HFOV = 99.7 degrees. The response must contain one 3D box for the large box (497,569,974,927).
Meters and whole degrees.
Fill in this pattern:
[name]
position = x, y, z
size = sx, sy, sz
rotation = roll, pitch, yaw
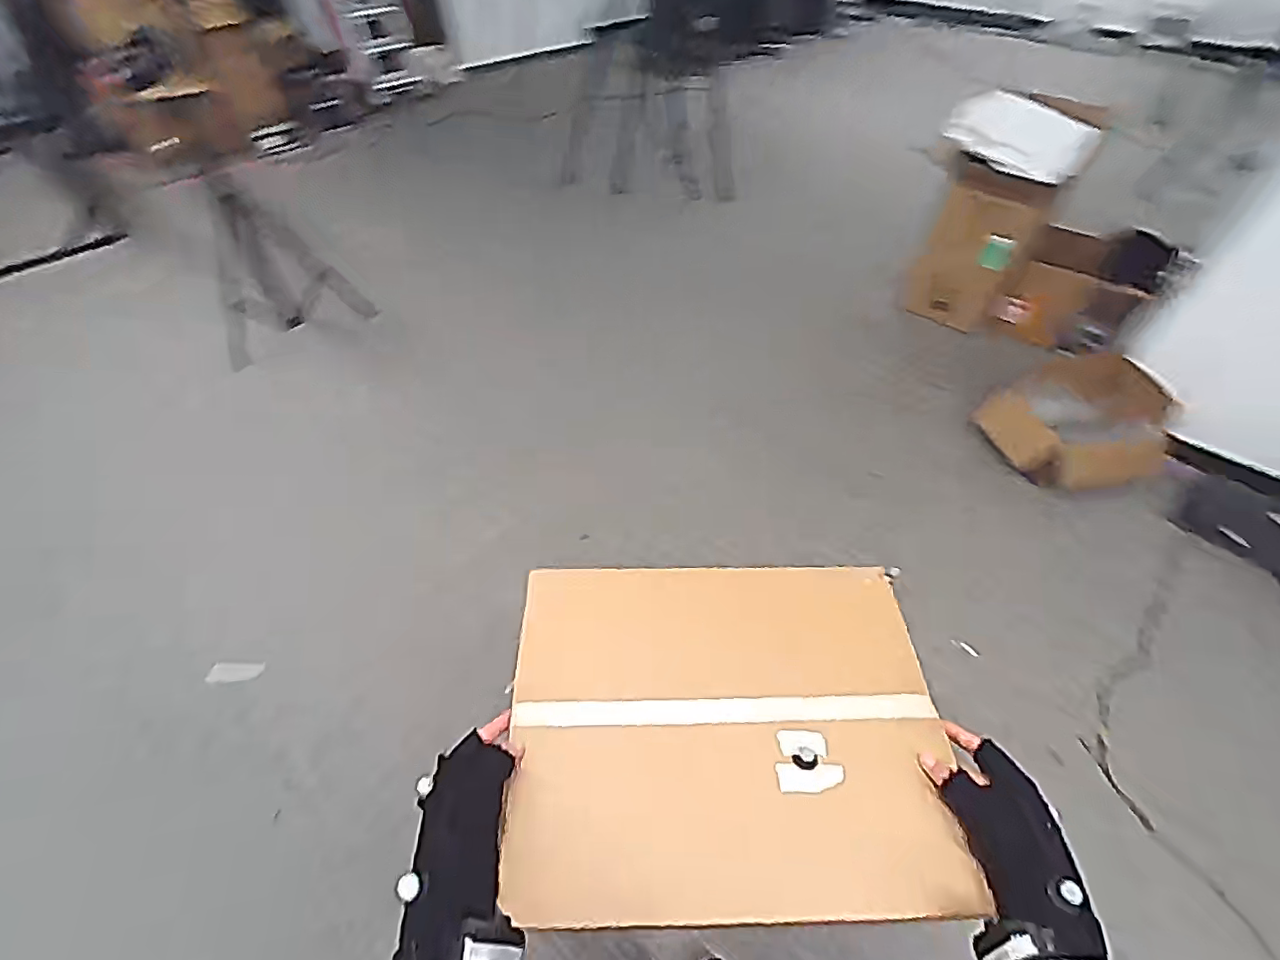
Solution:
[large box]
position = 0.071, 0.321, 0.645
size = 0.408, 0.320, 0.320
rotation = -1, 51, -2
